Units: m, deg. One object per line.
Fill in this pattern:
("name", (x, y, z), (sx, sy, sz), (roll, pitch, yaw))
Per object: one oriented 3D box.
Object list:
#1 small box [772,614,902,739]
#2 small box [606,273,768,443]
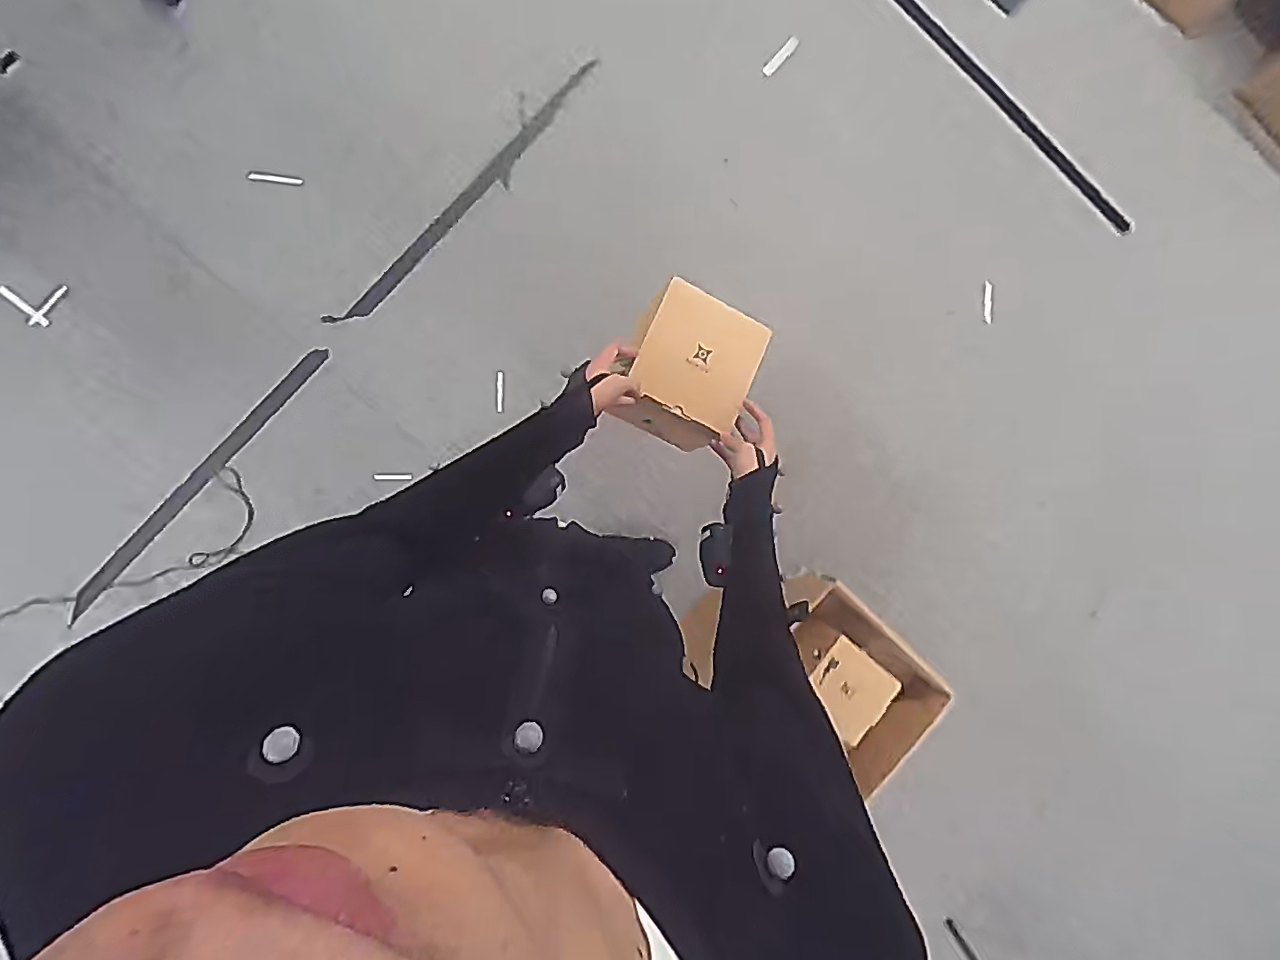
("small box", (0.431, 0.426, 1.209), (0.179, 0.176, 0.168), (40, 87, -6))
("small box", (0.061, -0.171, 0.820), (0.168, 0.176, 0.179), (24, 83, -12))
